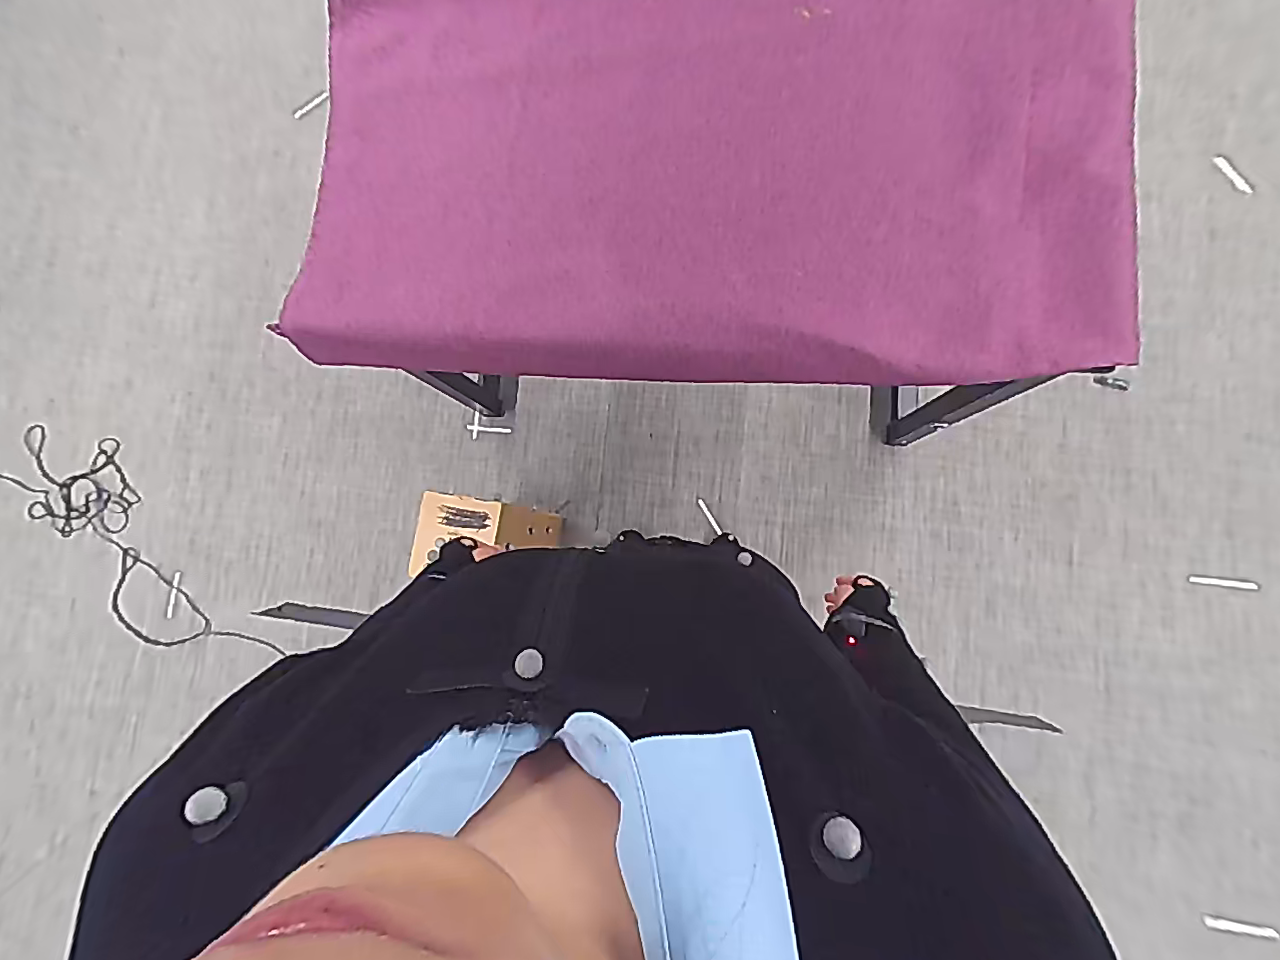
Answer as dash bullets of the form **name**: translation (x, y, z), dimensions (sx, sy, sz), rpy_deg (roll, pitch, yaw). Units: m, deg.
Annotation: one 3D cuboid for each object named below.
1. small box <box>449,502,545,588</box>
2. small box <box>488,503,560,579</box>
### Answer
- **small box**: translation (-0.333, 0.154, 1.296), dimensions (0.168, 0.176, 0.179), rpy_deg (6, 85, 7)
- **small box**: translation (-0.325, 0.168, 1.460), dimensions (0.168, 0.176, 0.179), rpy_deg (12, 85, 7)
